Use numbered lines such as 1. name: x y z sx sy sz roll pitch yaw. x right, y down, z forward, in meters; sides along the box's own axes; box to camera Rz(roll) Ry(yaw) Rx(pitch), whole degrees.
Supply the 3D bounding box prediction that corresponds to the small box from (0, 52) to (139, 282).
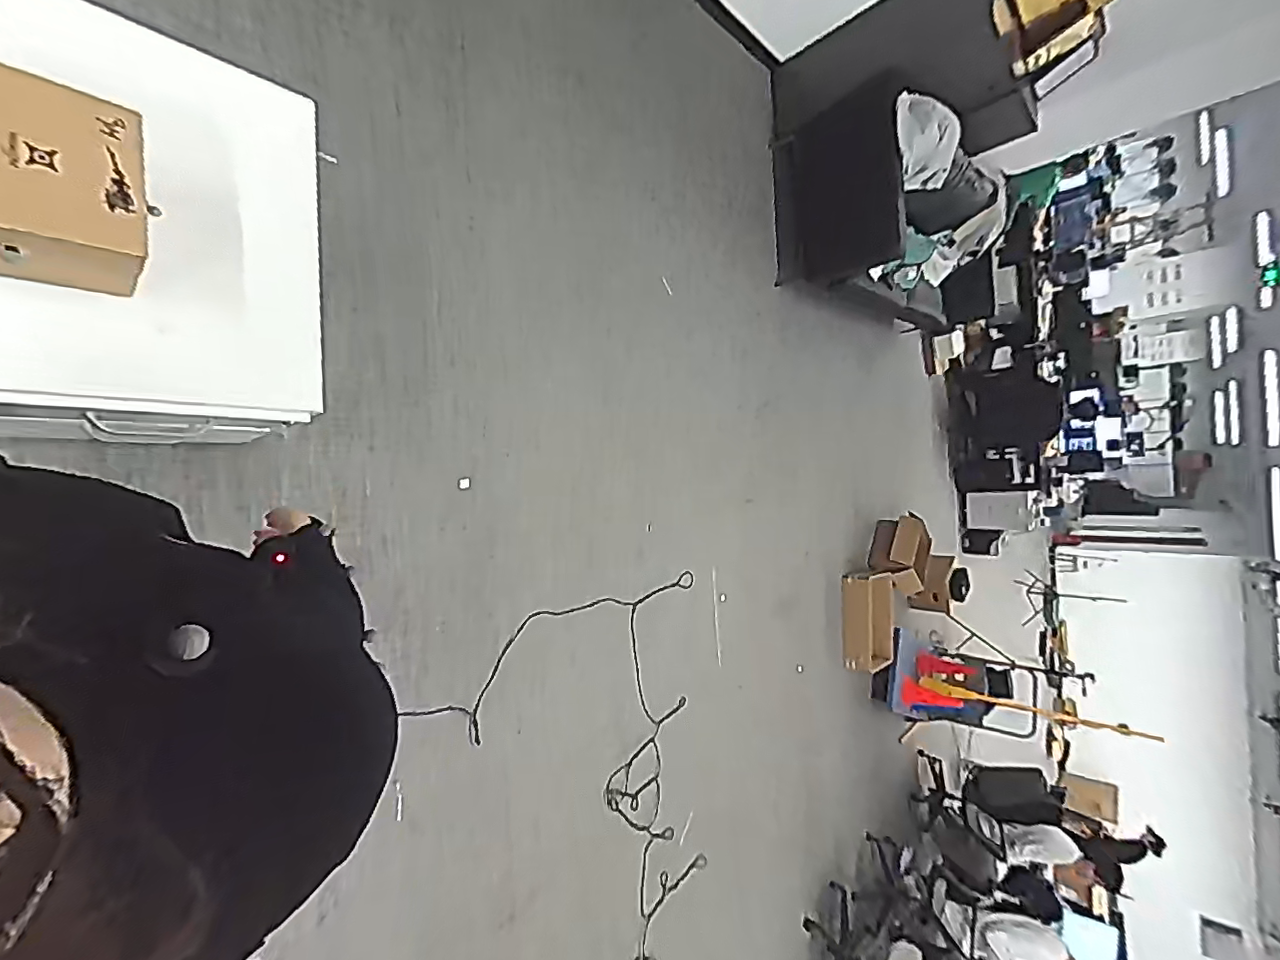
1. small box: -0.670 -0.331 0.586 0.179 0.176 0.168 -2 91 -48
